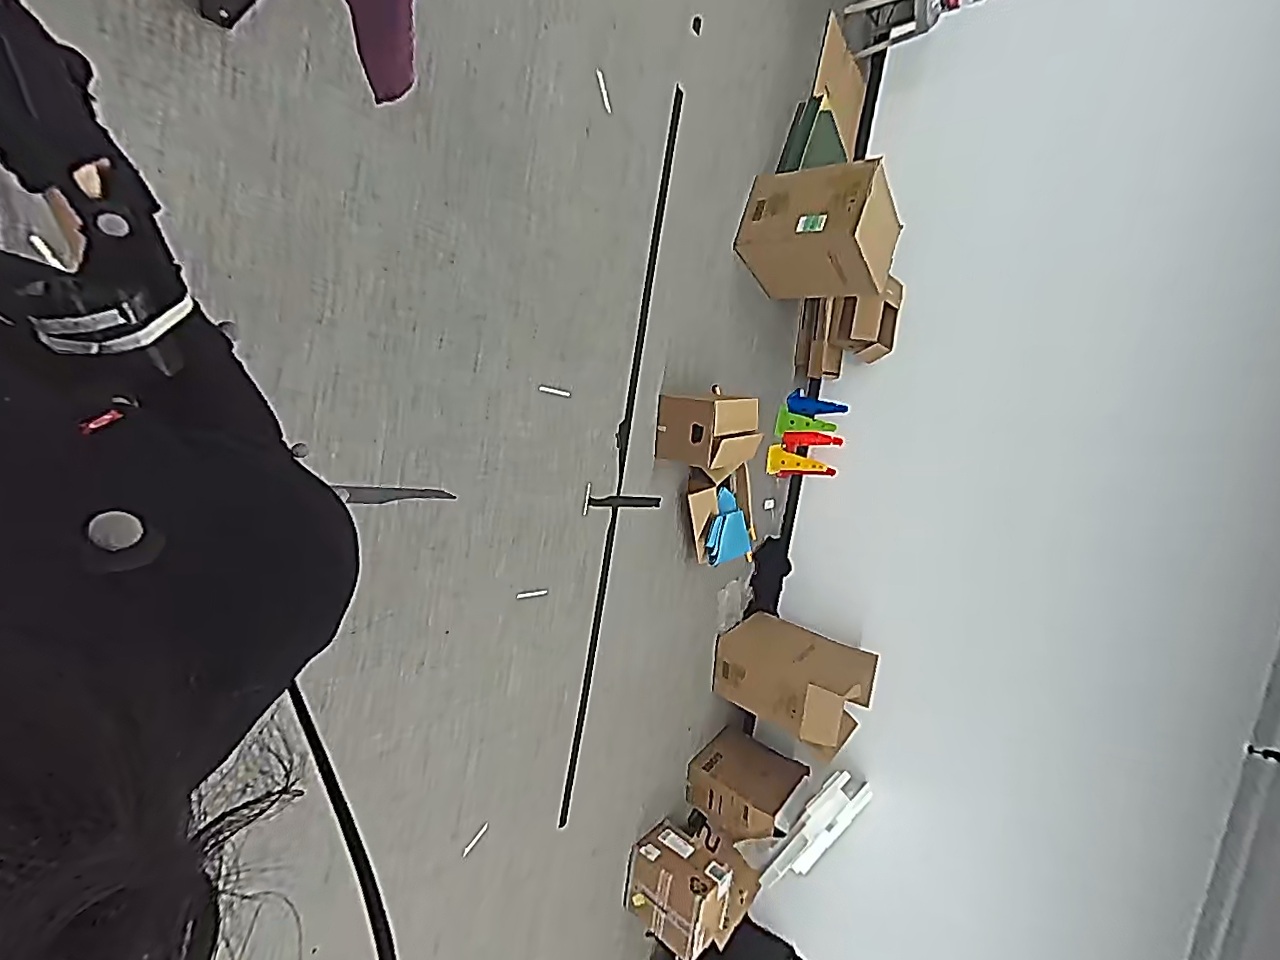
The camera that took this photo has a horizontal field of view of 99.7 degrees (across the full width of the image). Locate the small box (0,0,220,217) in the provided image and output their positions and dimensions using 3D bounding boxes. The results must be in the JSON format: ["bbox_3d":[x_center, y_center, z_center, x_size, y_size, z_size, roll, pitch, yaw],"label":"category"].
[{"bbox_3d":[-0.387,-0.250,0.289,0.176,0.168,0.179,-102,170,-49],"label":"small box"}]
